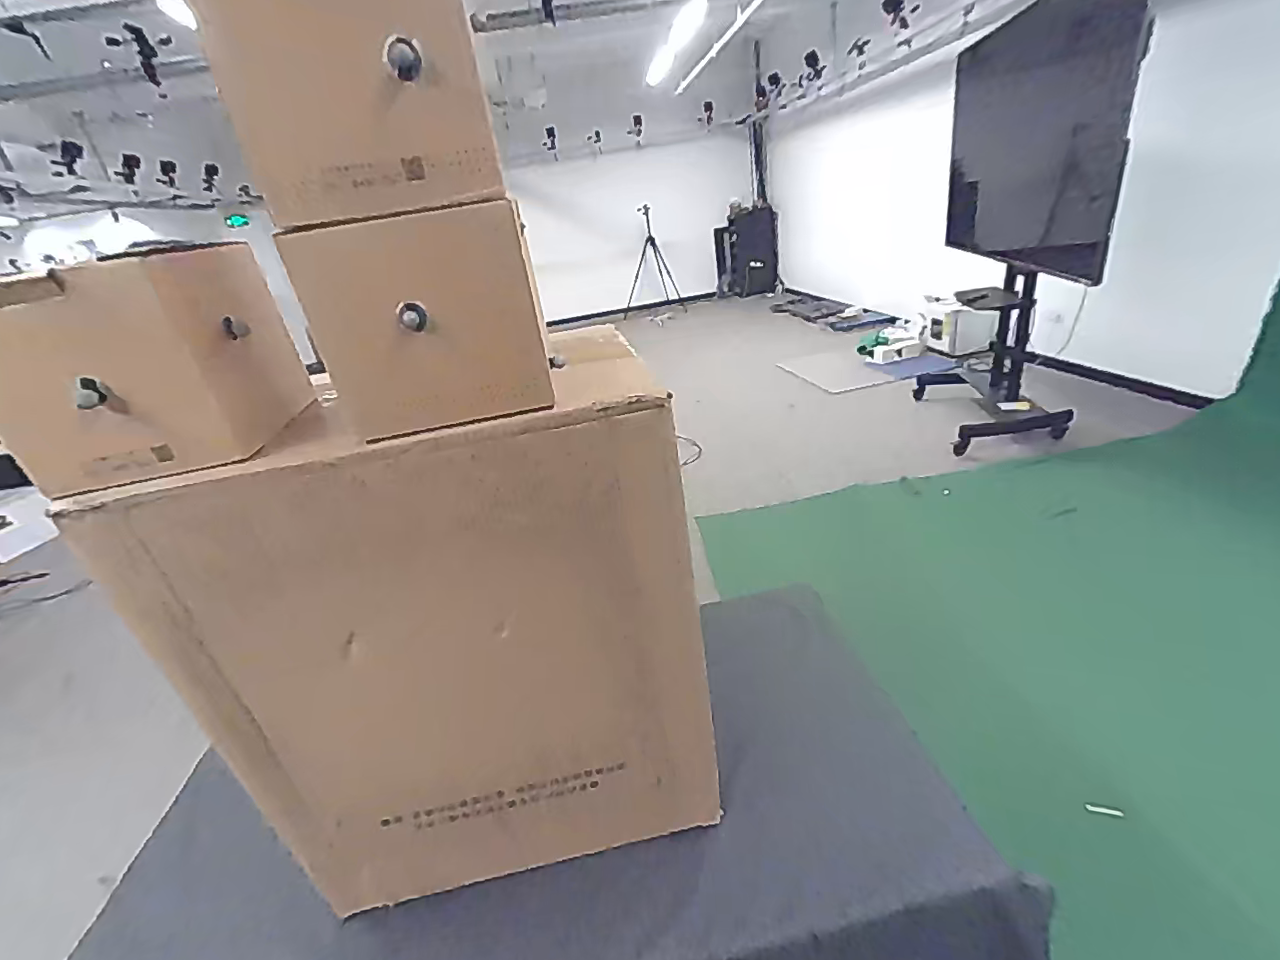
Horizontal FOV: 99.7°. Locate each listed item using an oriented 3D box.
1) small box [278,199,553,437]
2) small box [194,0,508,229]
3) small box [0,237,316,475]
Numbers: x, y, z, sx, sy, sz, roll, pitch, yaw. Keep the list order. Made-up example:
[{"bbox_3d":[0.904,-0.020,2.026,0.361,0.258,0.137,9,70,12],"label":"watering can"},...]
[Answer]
[{"bbox_3d":[-0.179,-0.156,0.503,0.179,0.176,0.168,-11,28,-4],"label":"small box"},{"bbox_3d":[-0.205,-0.301,0.436,0.168,0.176,0.179,-11,26,-9],"label":"small box"},{"bbox_3d":[-0.437,-0.115,0.499,0.168,0.176,0.179,-11,29,-5],"label":"small box"}]
